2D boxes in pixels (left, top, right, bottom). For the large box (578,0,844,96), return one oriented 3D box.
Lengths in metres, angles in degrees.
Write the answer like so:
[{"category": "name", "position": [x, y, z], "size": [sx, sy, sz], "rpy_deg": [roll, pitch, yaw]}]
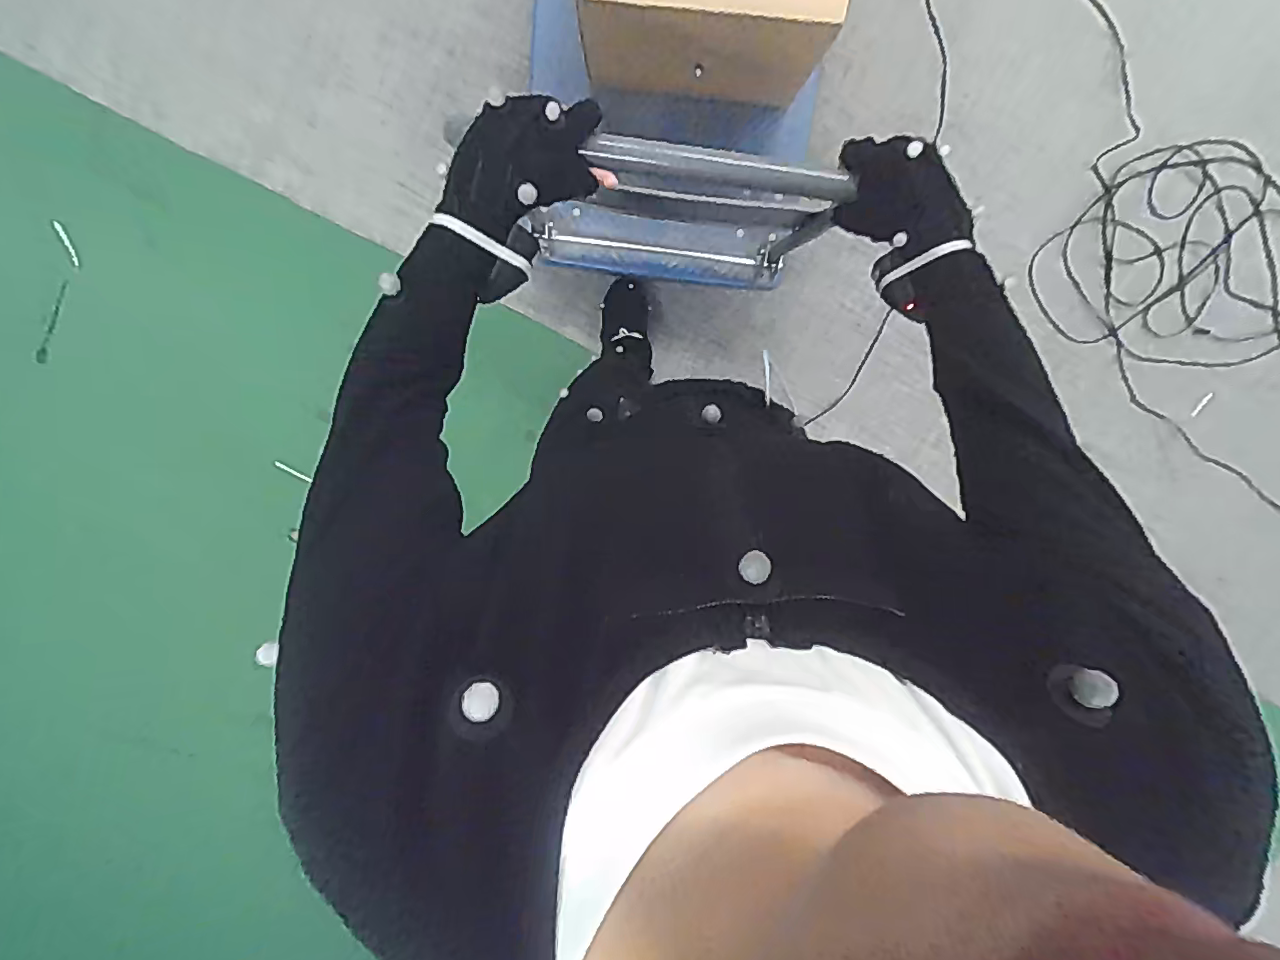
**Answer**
[{"category": "large box", "position": [0.114, -0.887, 0.906], "size": [0.408, 0.320, 0.320], "rpy_deg": [4, 105, -2]}]
